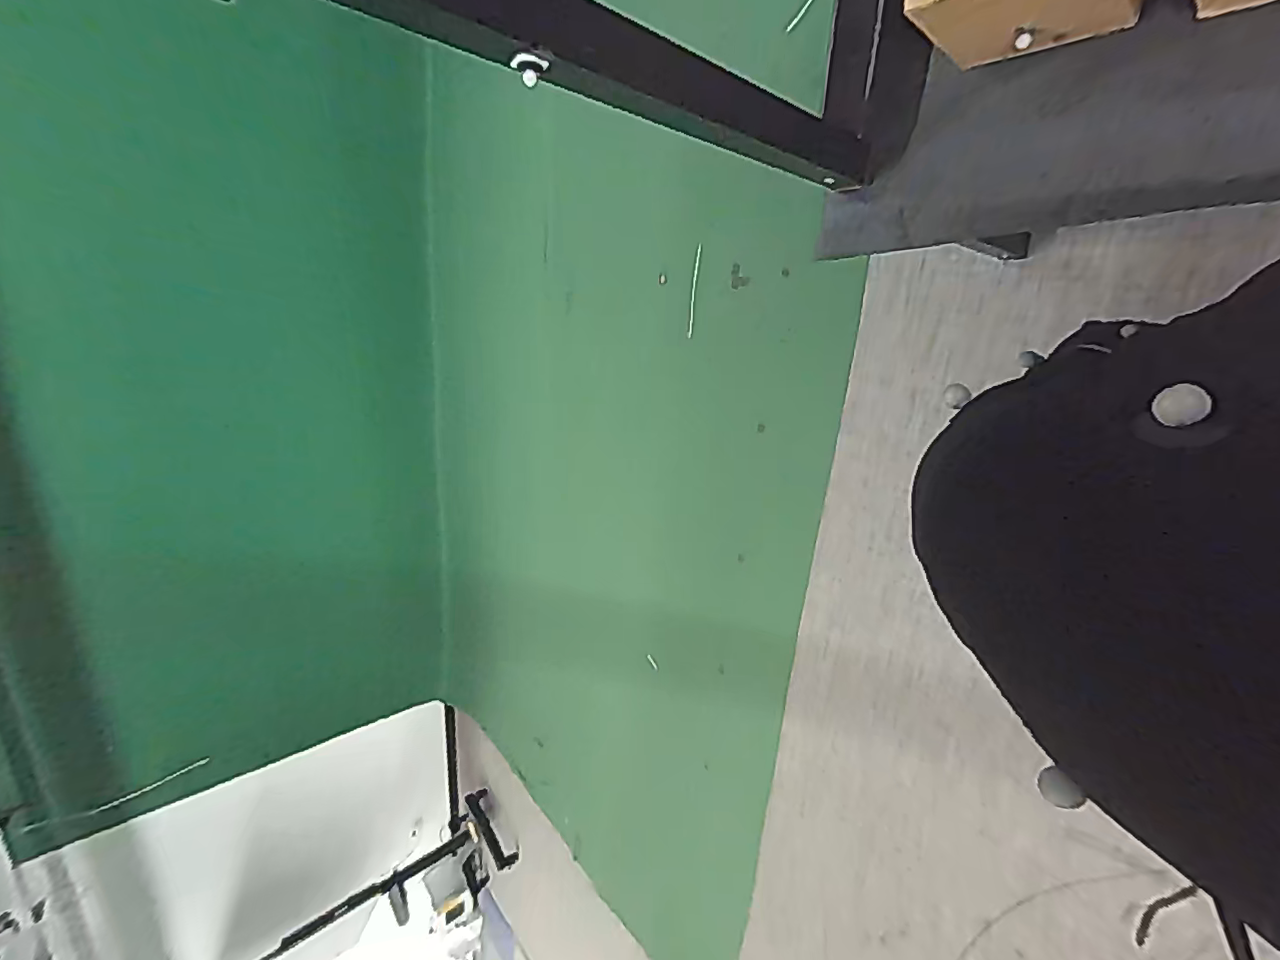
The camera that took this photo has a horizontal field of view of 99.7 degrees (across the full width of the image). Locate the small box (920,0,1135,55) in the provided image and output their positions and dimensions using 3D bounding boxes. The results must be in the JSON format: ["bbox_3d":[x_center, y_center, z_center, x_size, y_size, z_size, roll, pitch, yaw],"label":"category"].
[{"bbox_3d":[0.390,-0.561,0.522,0.168,0.176,0.179,22,115,45],"label":"small box"}]
